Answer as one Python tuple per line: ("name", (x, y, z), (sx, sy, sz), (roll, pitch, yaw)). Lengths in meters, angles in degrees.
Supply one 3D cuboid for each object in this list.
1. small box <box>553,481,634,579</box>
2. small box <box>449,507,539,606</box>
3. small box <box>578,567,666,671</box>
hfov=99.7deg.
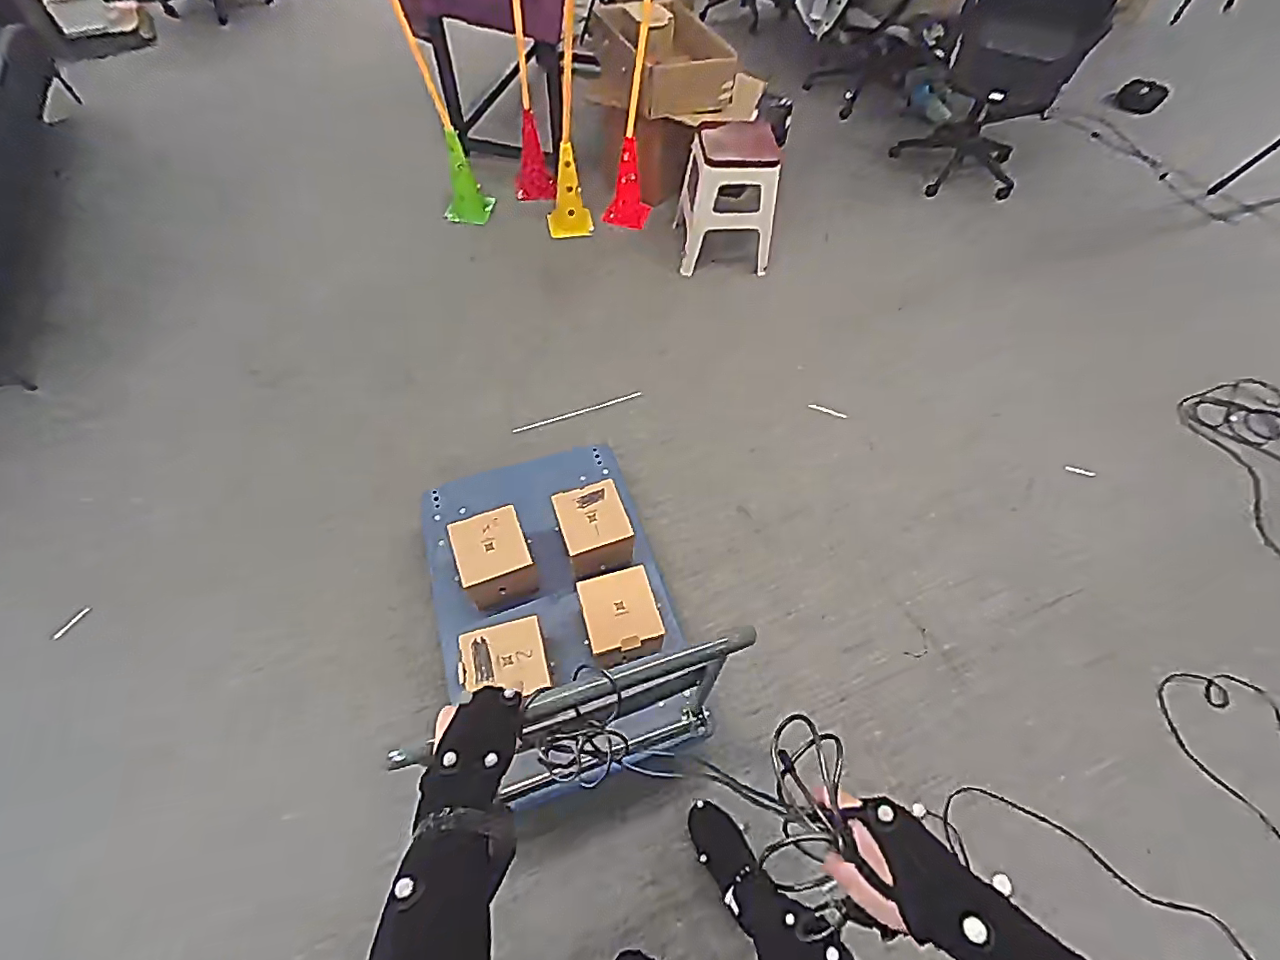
("small box", (-0.121, 0.133, 1.414), (0.168, 0.176, 0.179), (-17, 62, -11))
("small box", (-0.363, 0.201, 1.364), (0.168, 0.176, 0.179), (-18, 61, -13))
("small box", (-0.047, 0.335, 1.296), (0.168, 0.176, 0.179), (-14, 61, -10))
